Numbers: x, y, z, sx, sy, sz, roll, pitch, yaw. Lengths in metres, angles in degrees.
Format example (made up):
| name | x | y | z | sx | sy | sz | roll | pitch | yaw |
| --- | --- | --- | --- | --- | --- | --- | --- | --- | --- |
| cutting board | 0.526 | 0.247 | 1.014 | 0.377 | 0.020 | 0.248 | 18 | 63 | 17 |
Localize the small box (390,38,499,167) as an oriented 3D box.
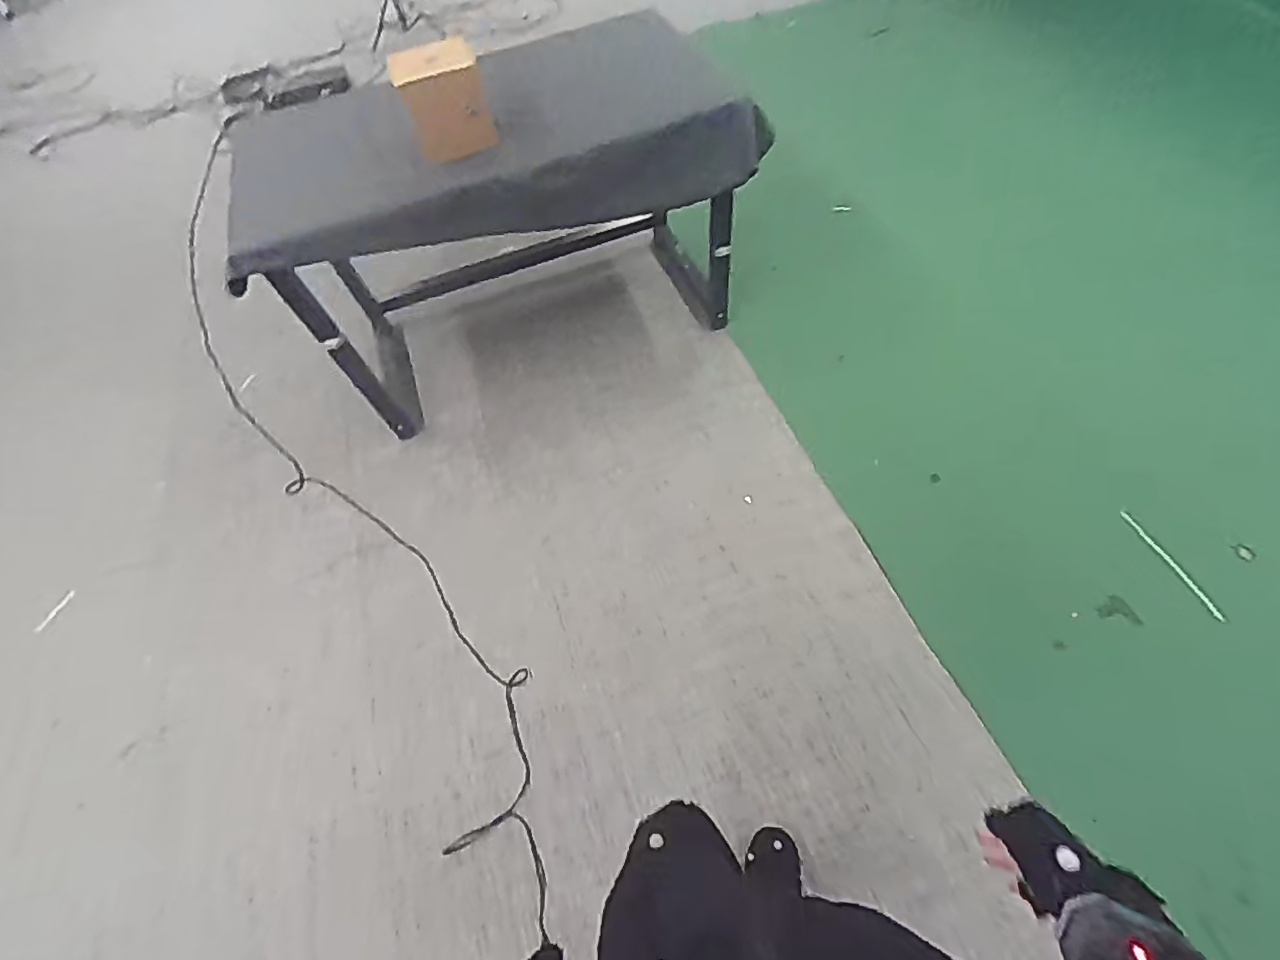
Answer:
| name | x | y | z | sx | sy | sz | roll | pitch | yaw |
| --- | --- | --- | --- | --- | --- | --- | --- | --- | --- |
| small box | -0.435 | -0.854 | 1.228 | 0.179 | 0.176 | 0.168 | -22 | 58 | -5 |
